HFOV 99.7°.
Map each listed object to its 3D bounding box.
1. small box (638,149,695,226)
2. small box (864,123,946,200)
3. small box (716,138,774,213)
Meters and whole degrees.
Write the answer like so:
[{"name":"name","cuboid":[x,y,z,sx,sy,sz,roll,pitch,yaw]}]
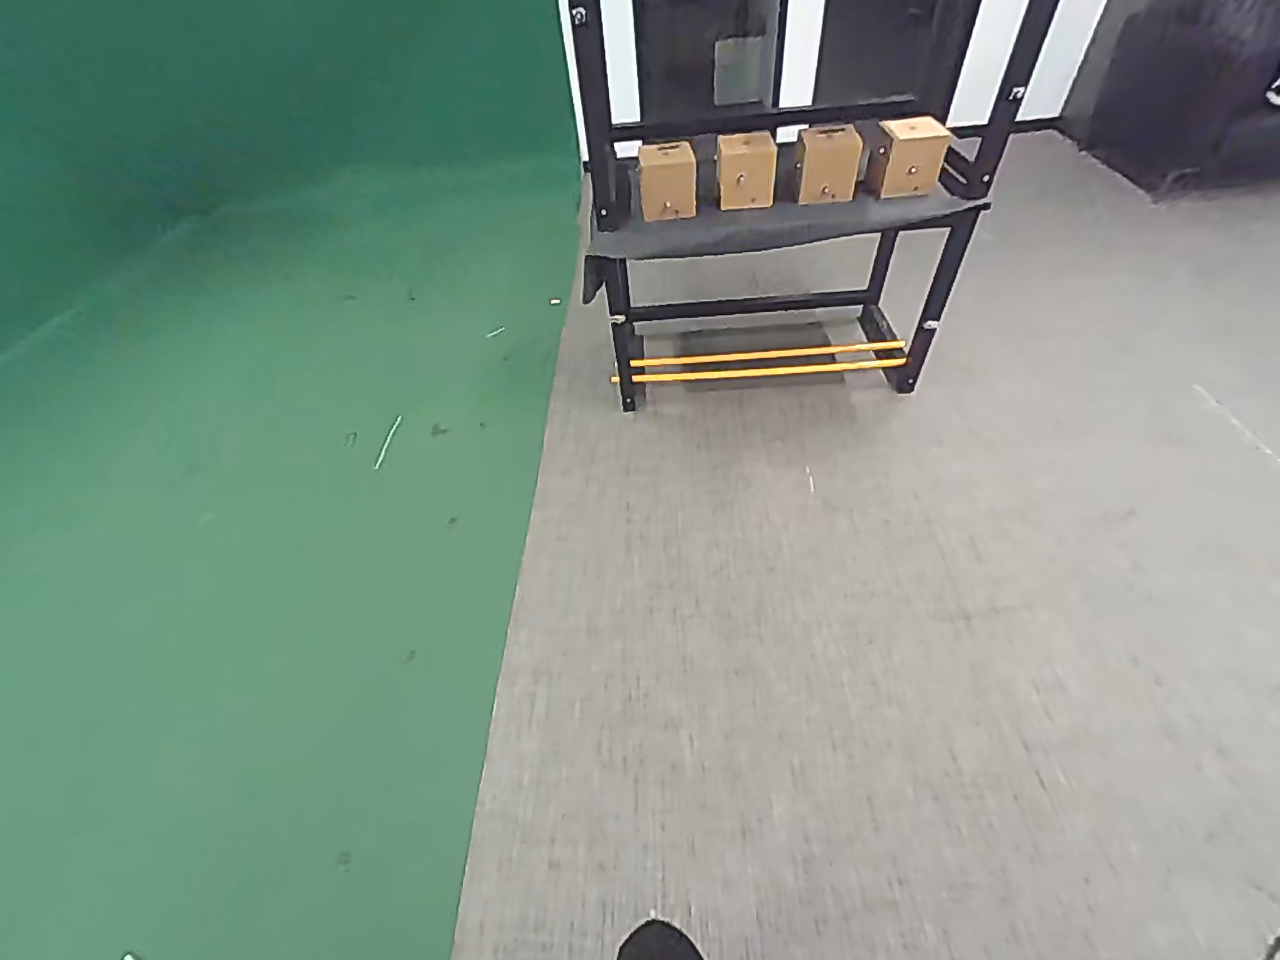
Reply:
[{"name":"small box","cuboid":[0.083,-0.936,1.733,0.168,0.176,0.179,-6,48,1]},{"name":"small box","cuboid":[0.824,-0.997,1.701,0.168,0.176,0.179,-4,47,3]},{"name":"small box","cuboid":[0.333,-0.977,1.744,0.168,0.176,0.179,-3,47,3]}]
